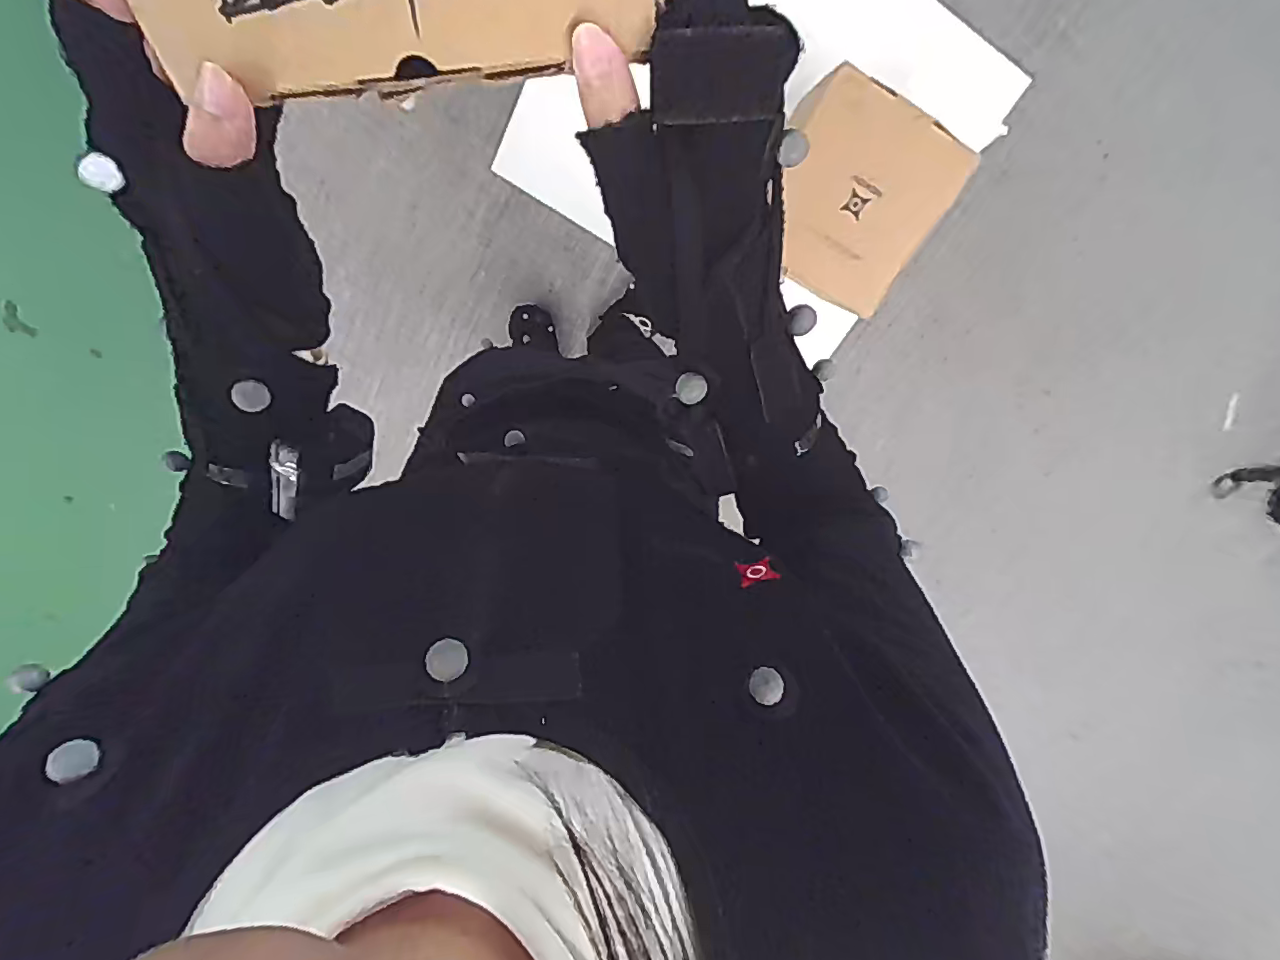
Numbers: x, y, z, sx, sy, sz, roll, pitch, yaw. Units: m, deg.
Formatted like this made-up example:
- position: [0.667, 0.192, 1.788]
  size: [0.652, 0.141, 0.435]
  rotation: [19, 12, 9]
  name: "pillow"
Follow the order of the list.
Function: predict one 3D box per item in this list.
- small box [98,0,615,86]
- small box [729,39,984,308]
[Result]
- position: [-0.098, -0.259, 0.187]
  size: [0.168, 0.176, 0.179]
  rotation: [-5, 130, 2]
  name: "small box"
- position: [0.211, -0.318, 0.589]
  size: [0.168, 0.176, 0.179]
  rotation: [27, 115, -10]
  name: "small box"
